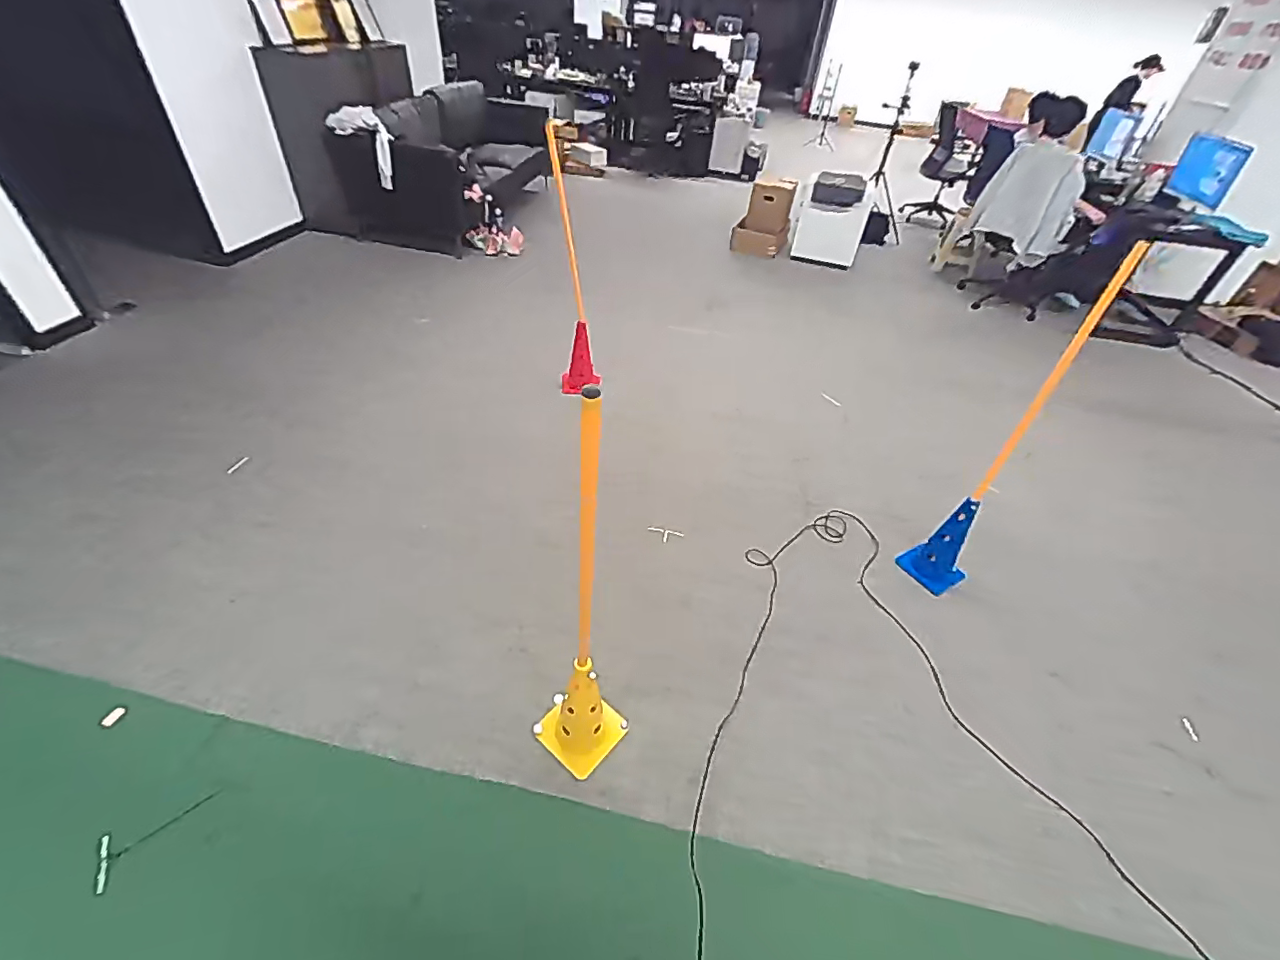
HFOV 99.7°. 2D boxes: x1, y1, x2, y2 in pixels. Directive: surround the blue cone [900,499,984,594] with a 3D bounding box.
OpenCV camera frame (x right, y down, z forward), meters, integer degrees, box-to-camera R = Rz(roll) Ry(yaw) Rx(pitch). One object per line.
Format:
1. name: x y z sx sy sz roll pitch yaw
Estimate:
1. blue cone: 1.124 0.214 1.960 0.193 0.380 0.192 -19 46 -30
